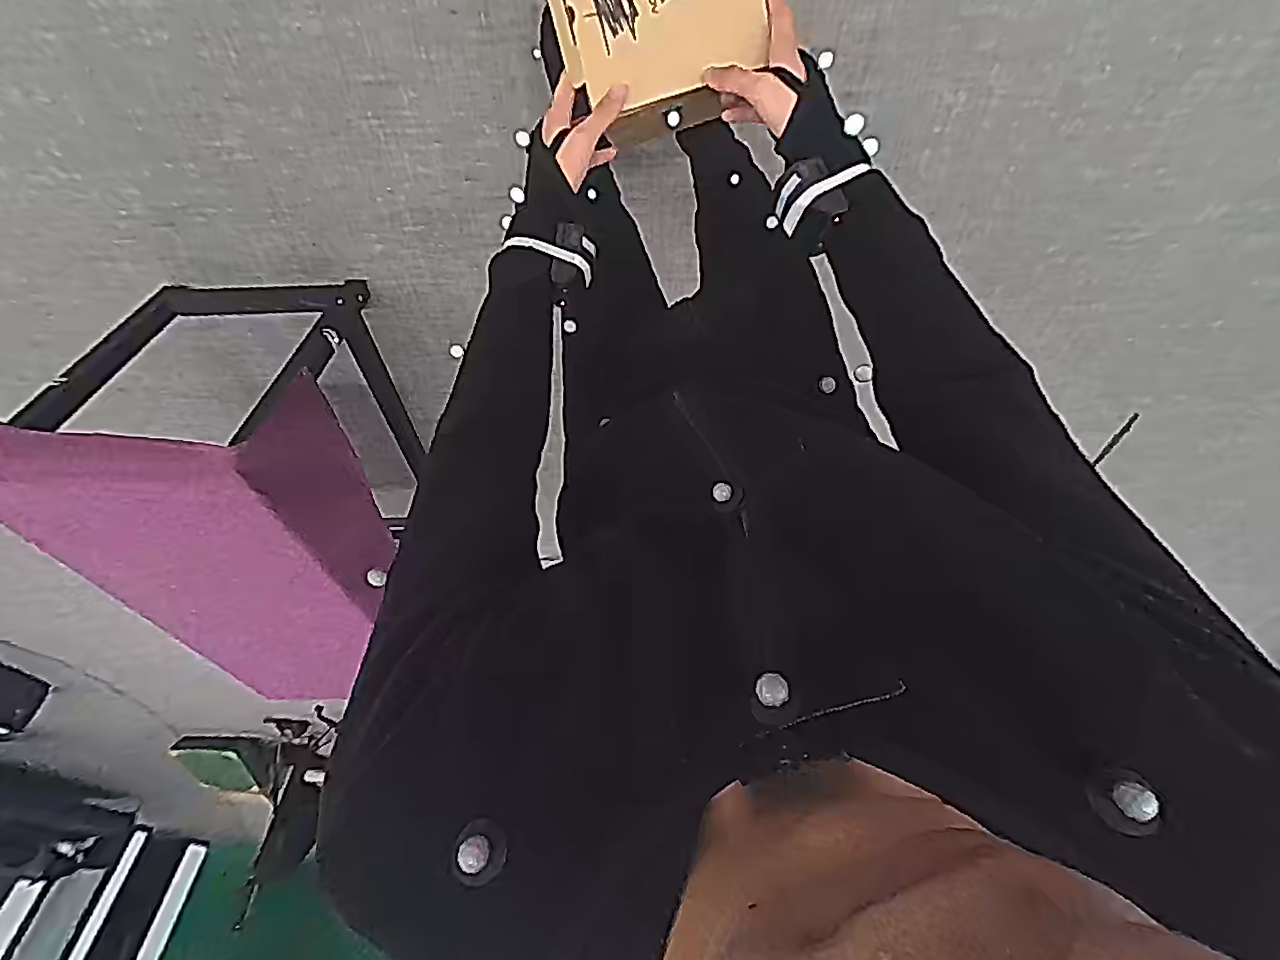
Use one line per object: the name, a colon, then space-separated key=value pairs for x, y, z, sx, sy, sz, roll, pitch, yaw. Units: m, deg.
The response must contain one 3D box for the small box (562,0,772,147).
small box: x=0.025 y=-0.464 z=0.549 sx=0.179 sy=0.176 sz=0.168 roll=-12 pitch=112 yaw=10
